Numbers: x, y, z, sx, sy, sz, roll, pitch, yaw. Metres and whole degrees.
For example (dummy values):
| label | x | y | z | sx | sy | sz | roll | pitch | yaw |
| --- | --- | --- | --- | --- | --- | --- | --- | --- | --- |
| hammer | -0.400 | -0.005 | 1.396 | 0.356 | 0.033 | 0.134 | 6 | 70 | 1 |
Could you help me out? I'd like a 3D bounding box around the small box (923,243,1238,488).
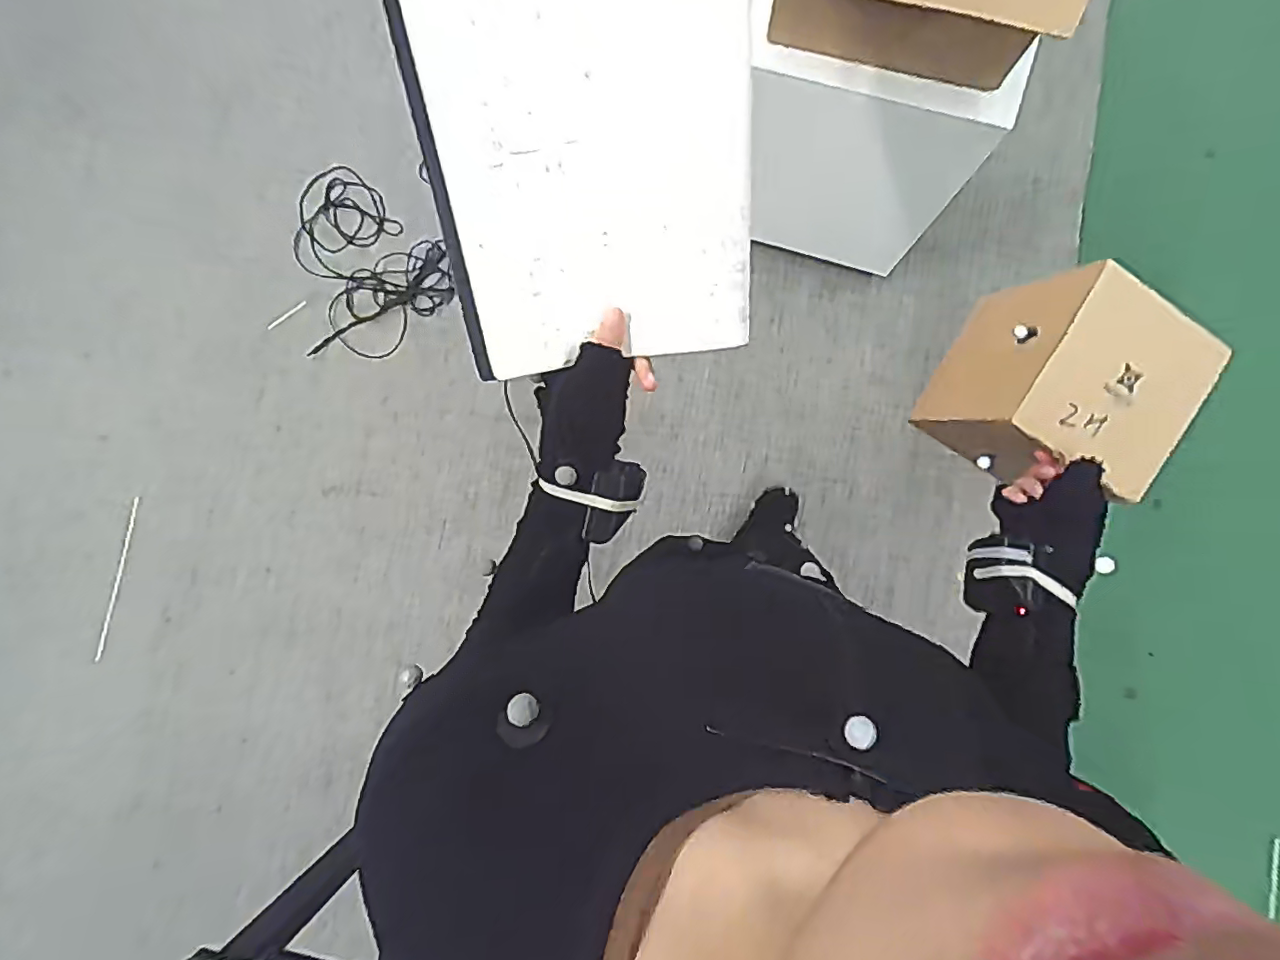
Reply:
| label | x | y | z | sx | sy | sz | roll | pitch | yaw |
| --- | --- | --- | --- | --- | --- | --- | --- | --- | --- |
| small box | 0.452 | -0.114 | 0.586 | 0.168 | 0.176 | 0.179 | 29 | 93 | -7 |
